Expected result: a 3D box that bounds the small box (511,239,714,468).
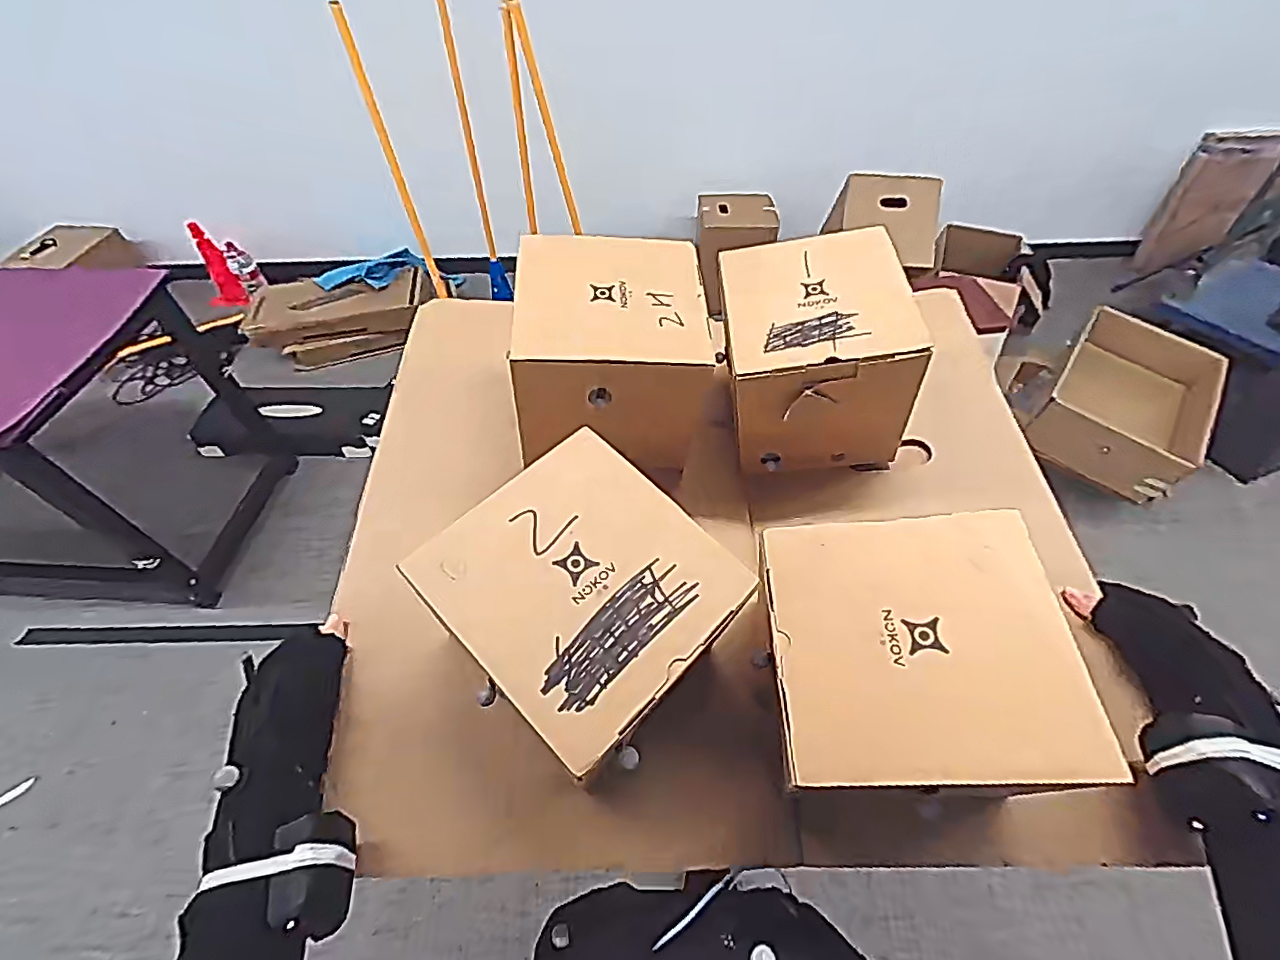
[{"bbox_3d":[-0.031,-0.124,0.565,0.179,0.176,0.168,1,59,-6],"label":"small box"}]
